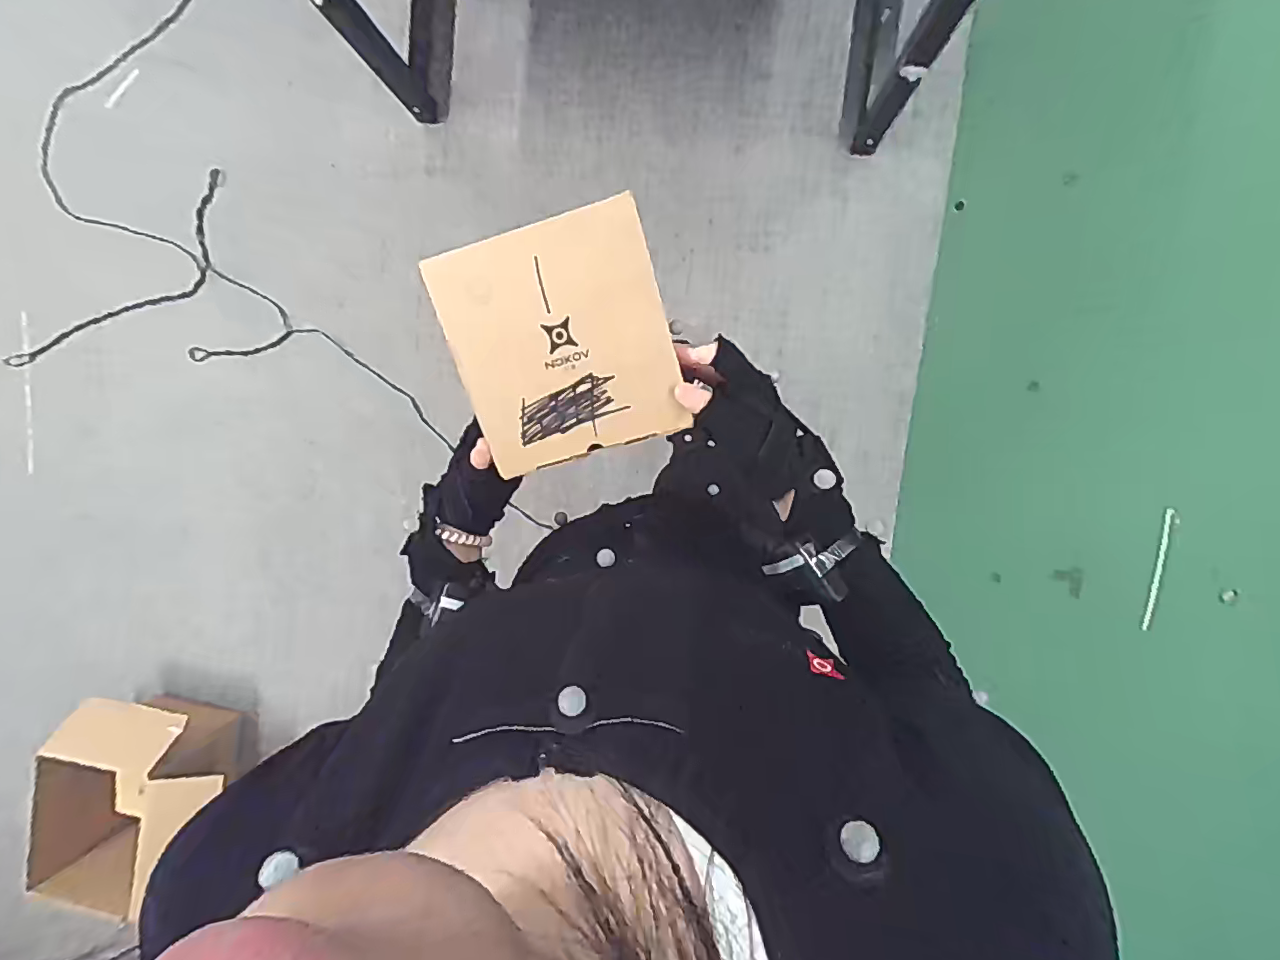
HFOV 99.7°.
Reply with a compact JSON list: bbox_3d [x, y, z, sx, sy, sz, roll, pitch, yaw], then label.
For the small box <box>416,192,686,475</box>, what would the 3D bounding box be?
[{"bbox_3d":[-0.061,-0.127,0.485,0.168,0.176,0.179,-16,106,5],"label":"small box"}]
